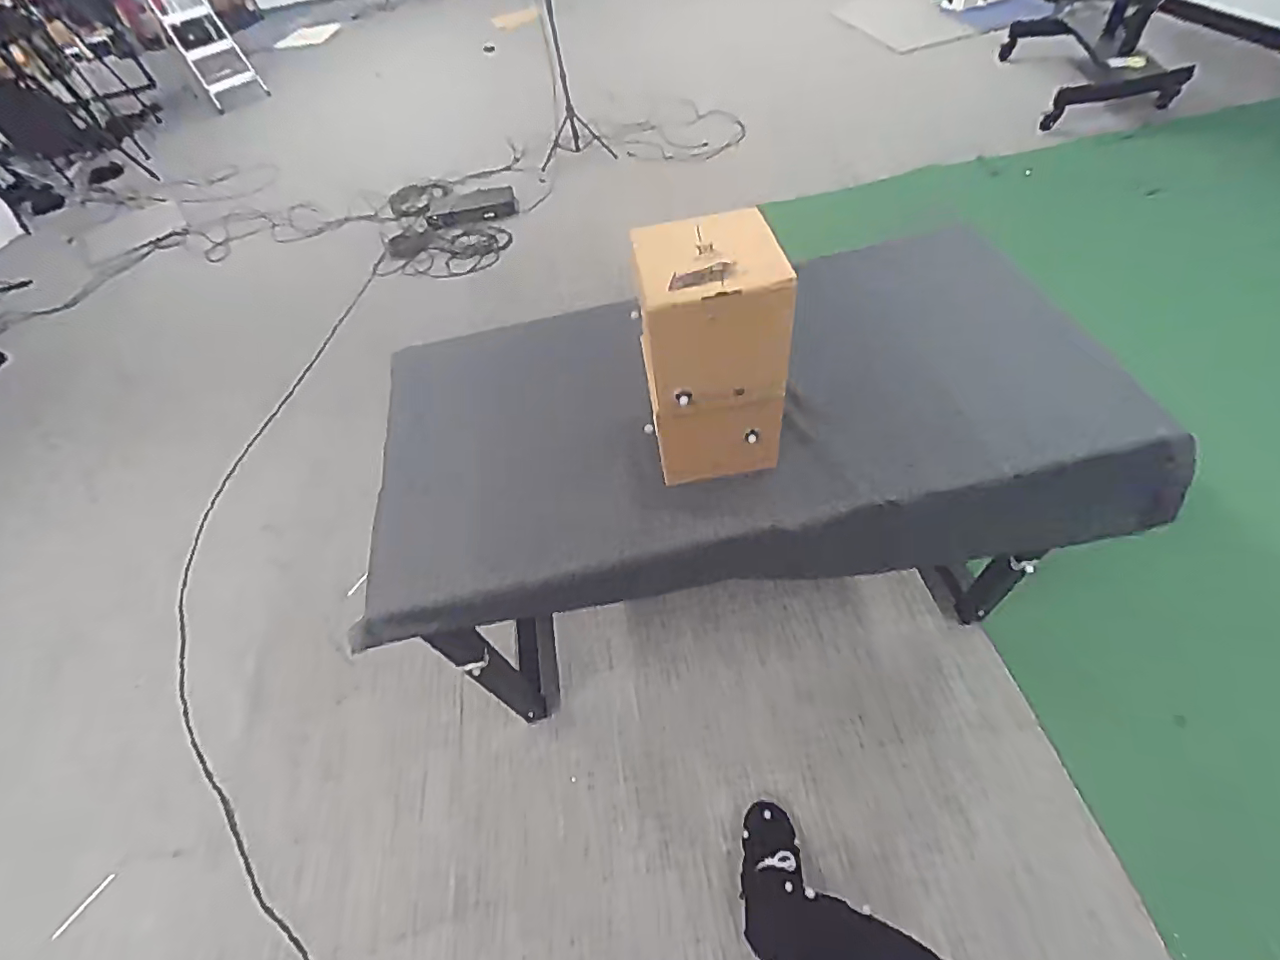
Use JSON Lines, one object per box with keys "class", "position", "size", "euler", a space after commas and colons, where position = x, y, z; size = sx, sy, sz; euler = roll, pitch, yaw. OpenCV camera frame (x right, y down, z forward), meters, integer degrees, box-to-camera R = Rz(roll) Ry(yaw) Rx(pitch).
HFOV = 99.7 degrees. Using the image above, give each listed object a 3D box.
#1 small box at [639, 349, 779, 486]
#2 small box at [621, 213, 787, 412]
{"class": "small box", "position": [0.102, -0.112, 0.832], "size": [0.179, 0.176, 0.168], "euler": [-11, 51, 2]}
{"class": "small box", "position": [0.080, -0.207, 0.700], "size": [0.168, 0.176, 0.179], "euler": [-13, 52, 0]}
